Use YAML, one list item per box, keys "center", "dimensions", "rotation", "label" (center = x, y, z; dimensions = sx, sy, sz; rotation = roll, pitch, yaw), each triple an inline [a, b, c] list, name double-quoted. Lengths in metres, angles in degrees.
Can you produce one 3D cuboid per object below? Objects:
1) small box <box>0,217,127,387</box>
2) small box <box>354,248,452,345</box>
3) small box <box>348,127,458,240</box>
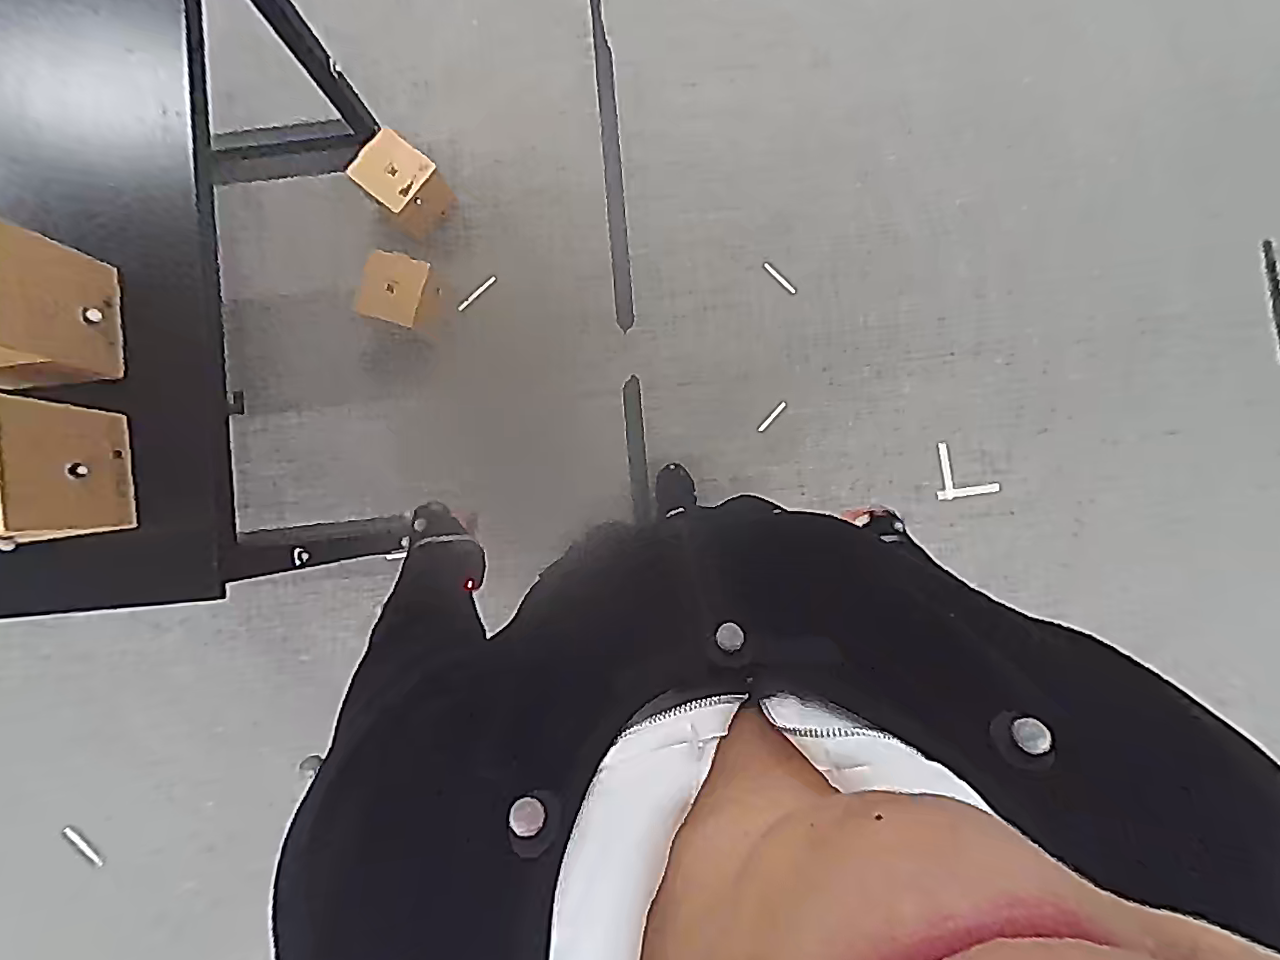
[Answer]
- center: [-0.844, -0.225, 0.715]
  dimensions: [0.179, 0.176, 0.168]
  rotation: [-6, 88, 0]
  label: "small box"
- center: [-0.627, -0.487, 1.455]
  dimensions: [0.168, 0.176, 0.179]
  rotation: [16, 89, 2]
  label: "small box"
- center: [-0.632, -0.790, 1.463]
  dimensions: [0.179, 0.176, 0.168]
  rotation: [38, 89, 1]
  label: "small box"
